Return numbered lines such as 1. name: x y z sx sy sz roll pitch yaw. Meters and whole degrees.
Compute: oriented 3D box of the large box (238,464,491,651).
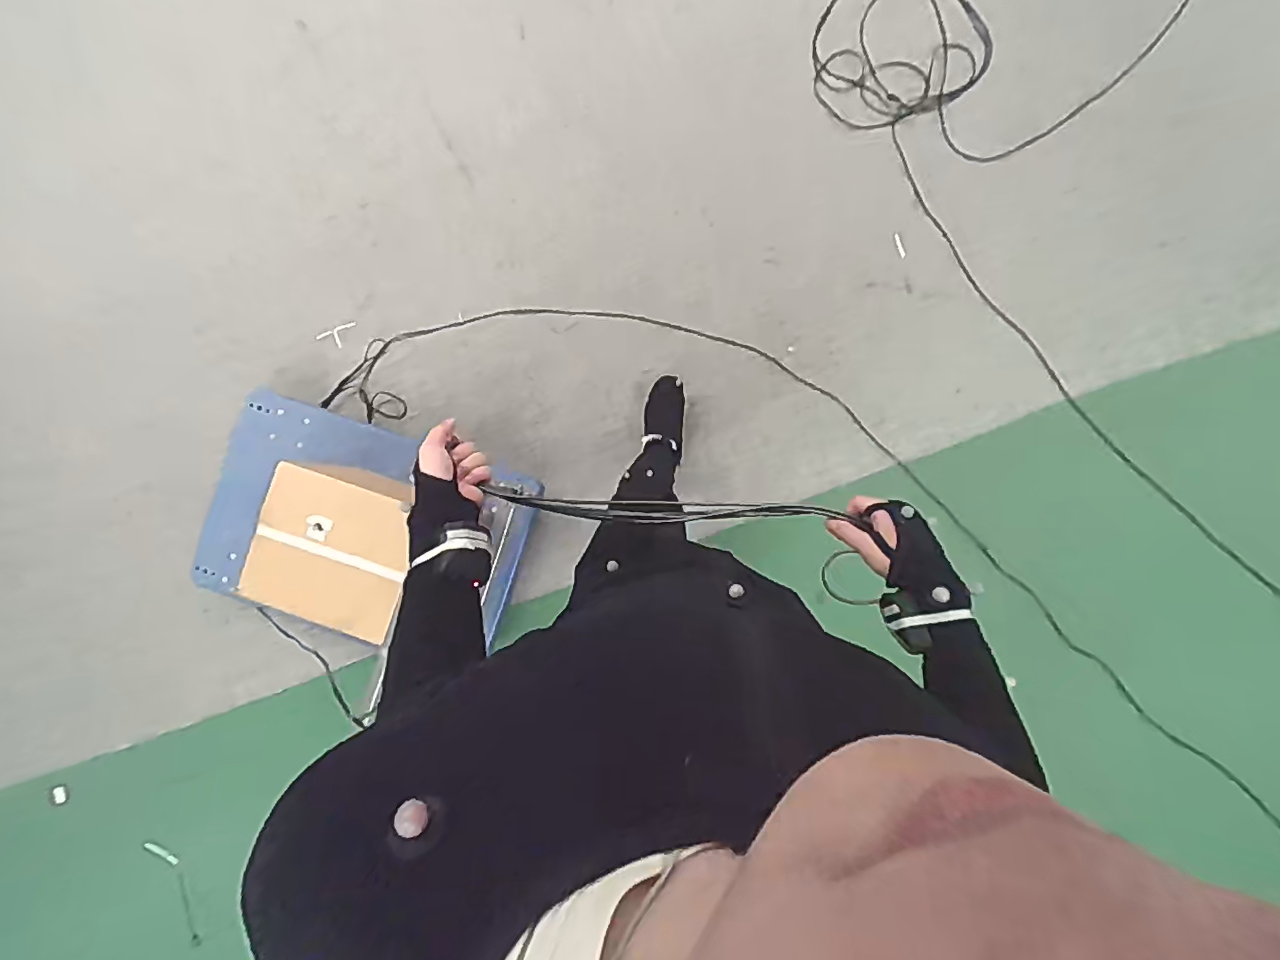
1. large box: -0.634 0.168 1.312 0.408 0.320 0.320 18 89 4
